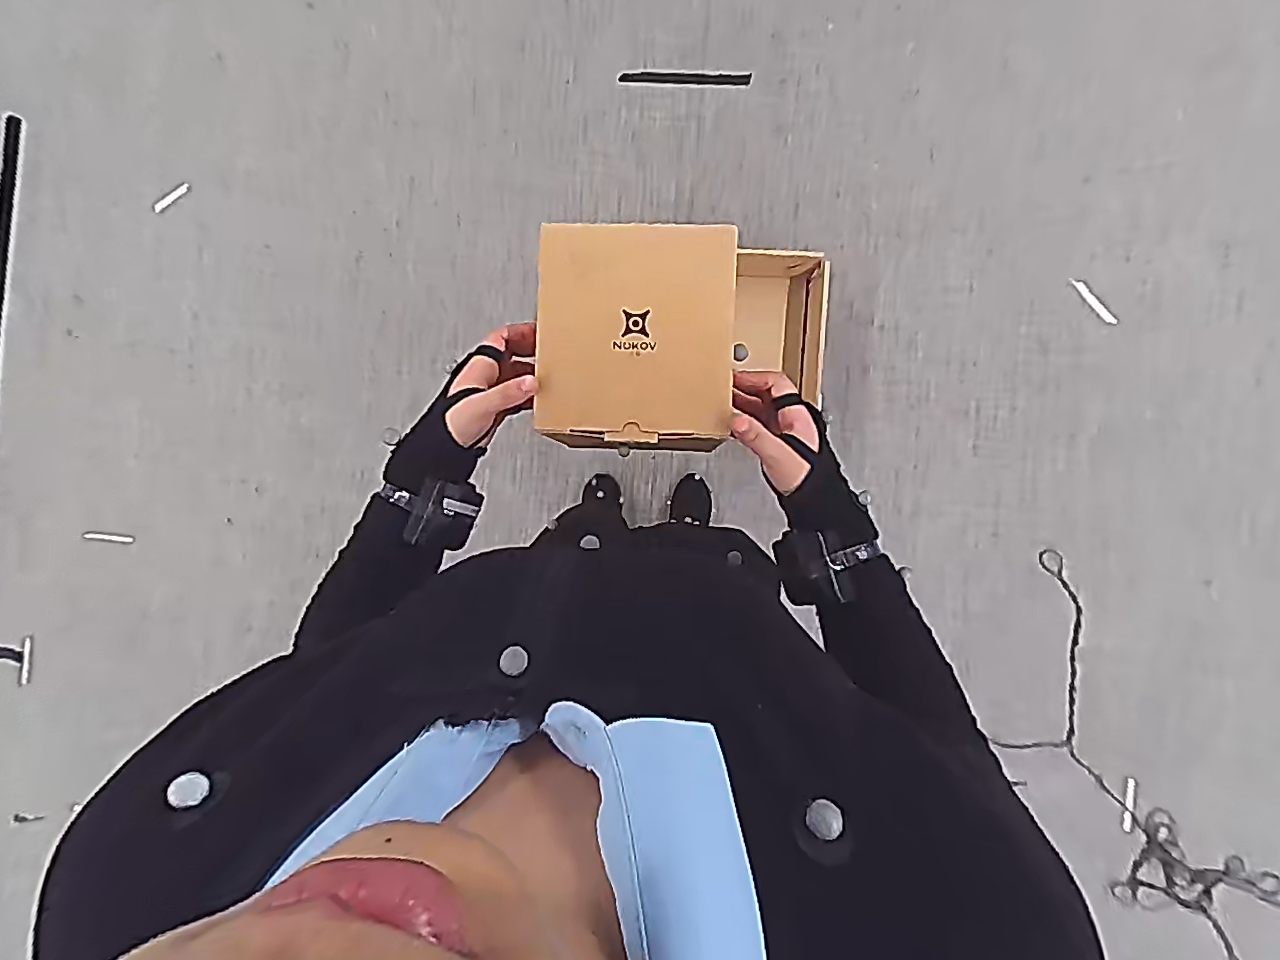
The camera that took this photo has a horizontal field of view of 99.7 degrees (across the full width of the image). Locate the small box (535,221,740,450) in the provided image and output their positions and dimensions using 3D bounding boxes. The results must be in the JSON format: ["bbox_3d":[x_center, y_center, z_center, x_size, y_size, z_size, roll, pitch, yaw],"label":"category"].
[{"bbox_3d":[0.000,-0.124,0.522,0.168,0.176,0.179,2,90,3],"label":"small box"}]
